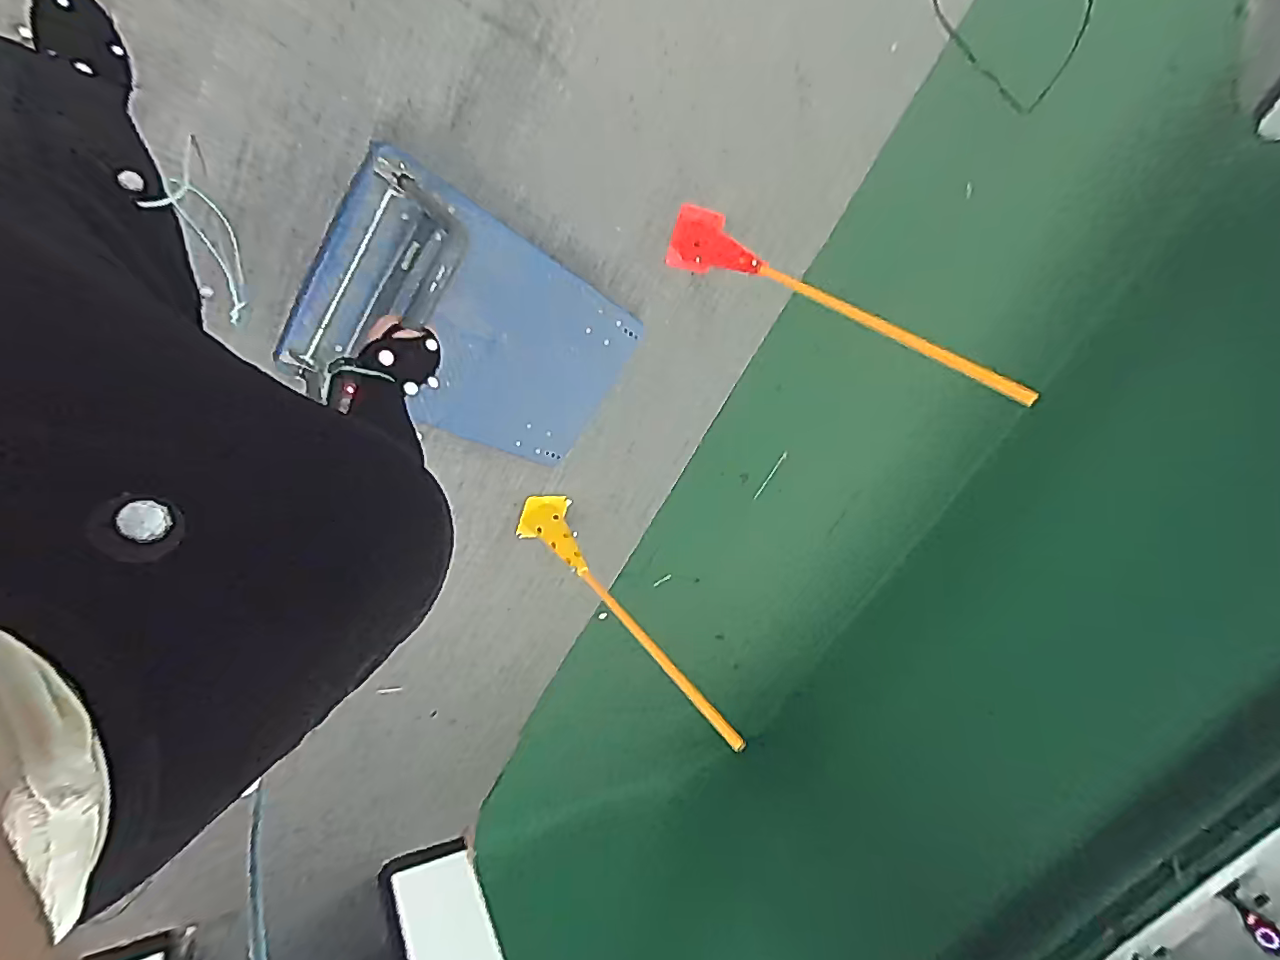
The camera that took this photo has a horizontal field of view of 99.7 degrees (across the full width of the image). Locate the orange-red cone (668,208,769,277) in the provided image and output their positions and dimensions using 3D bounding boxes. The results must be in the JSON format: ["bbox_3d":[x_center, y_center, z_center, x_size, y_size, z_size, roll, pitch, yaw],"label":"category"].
[{"bbox_3d":[0.283,-0.726,1.750,0.198,0.360,0.199,-3,123,-37],"label":"orange-red cone"}]
